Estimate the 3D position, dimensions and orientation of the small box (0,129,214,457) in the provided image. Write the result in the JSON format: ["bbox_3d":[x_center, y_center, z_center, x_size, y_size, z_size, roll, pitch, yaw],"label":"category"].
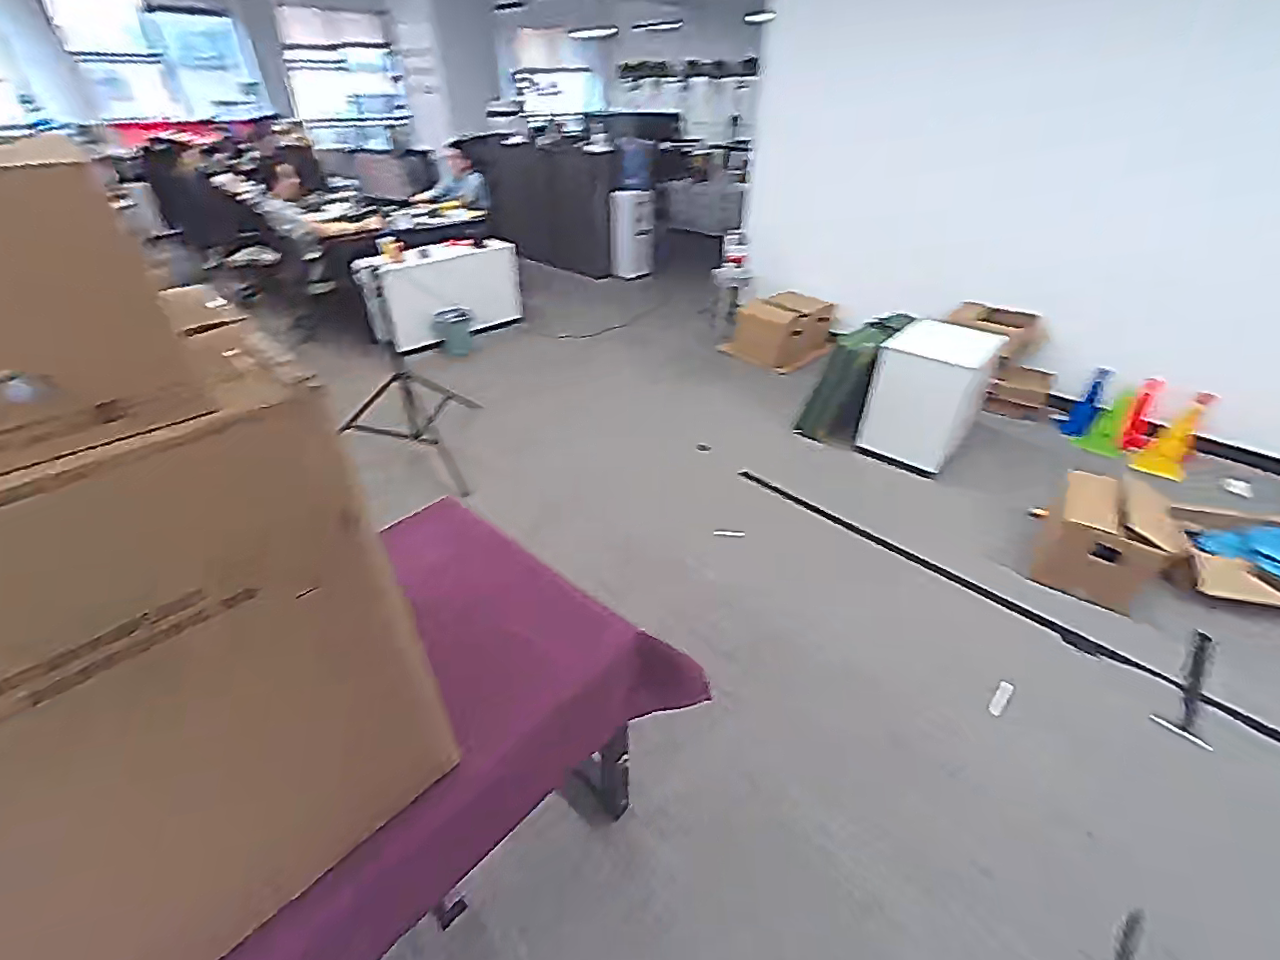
[{"bbox_3d":[-0.431,-0.130,0.362,0.168,0.176,0.179,-29,46,-34],"label":"small box"}]
